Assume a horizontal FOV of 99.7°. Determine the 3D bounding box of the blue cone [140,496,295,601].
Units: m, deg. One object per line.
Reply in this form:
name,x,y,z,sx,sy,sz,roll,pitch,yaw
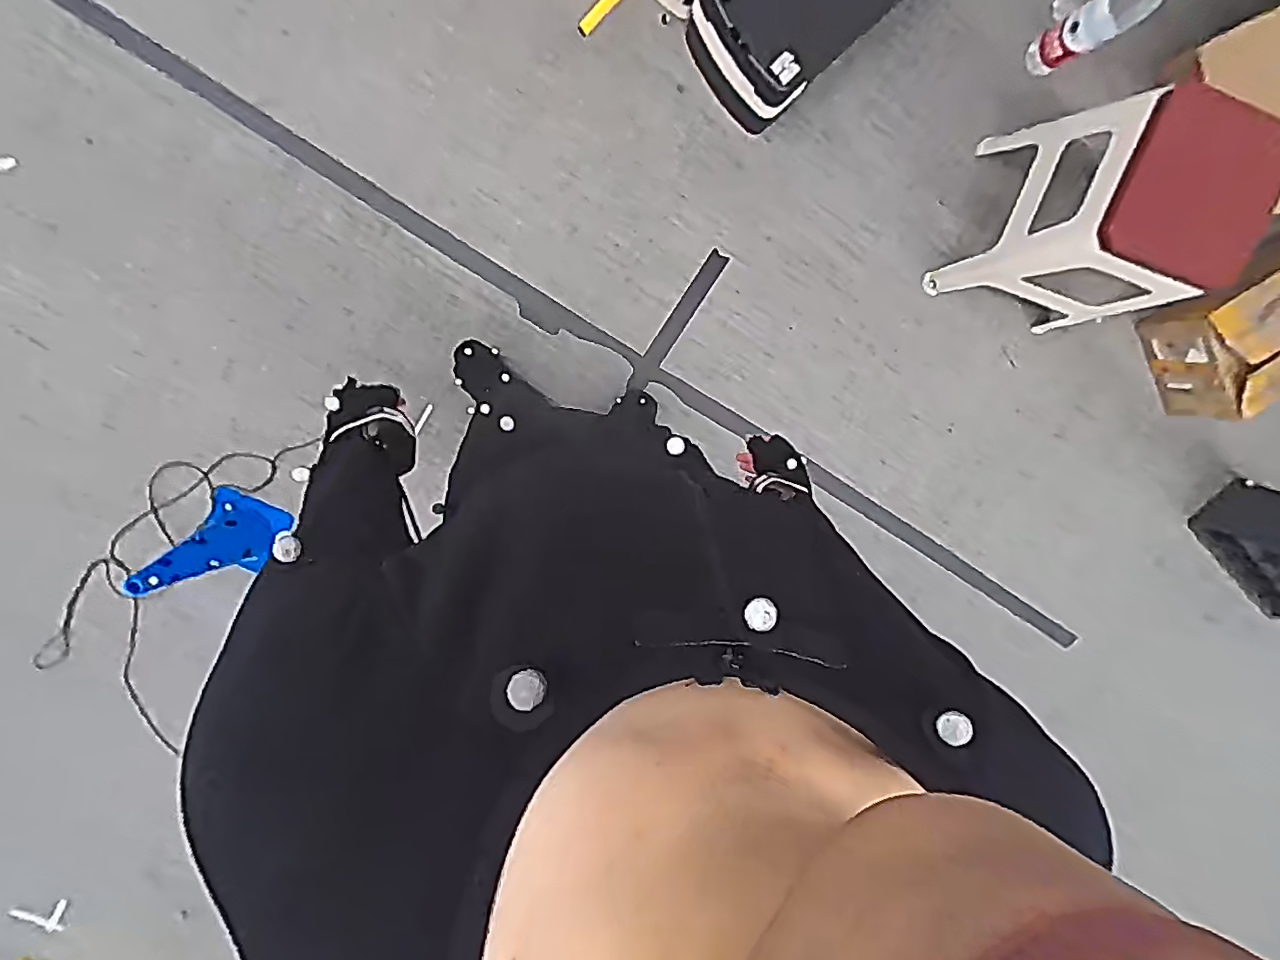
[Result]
blue cone,-1.027,0.187,1.283,0.192,0.380,0.193,27,100,-9
